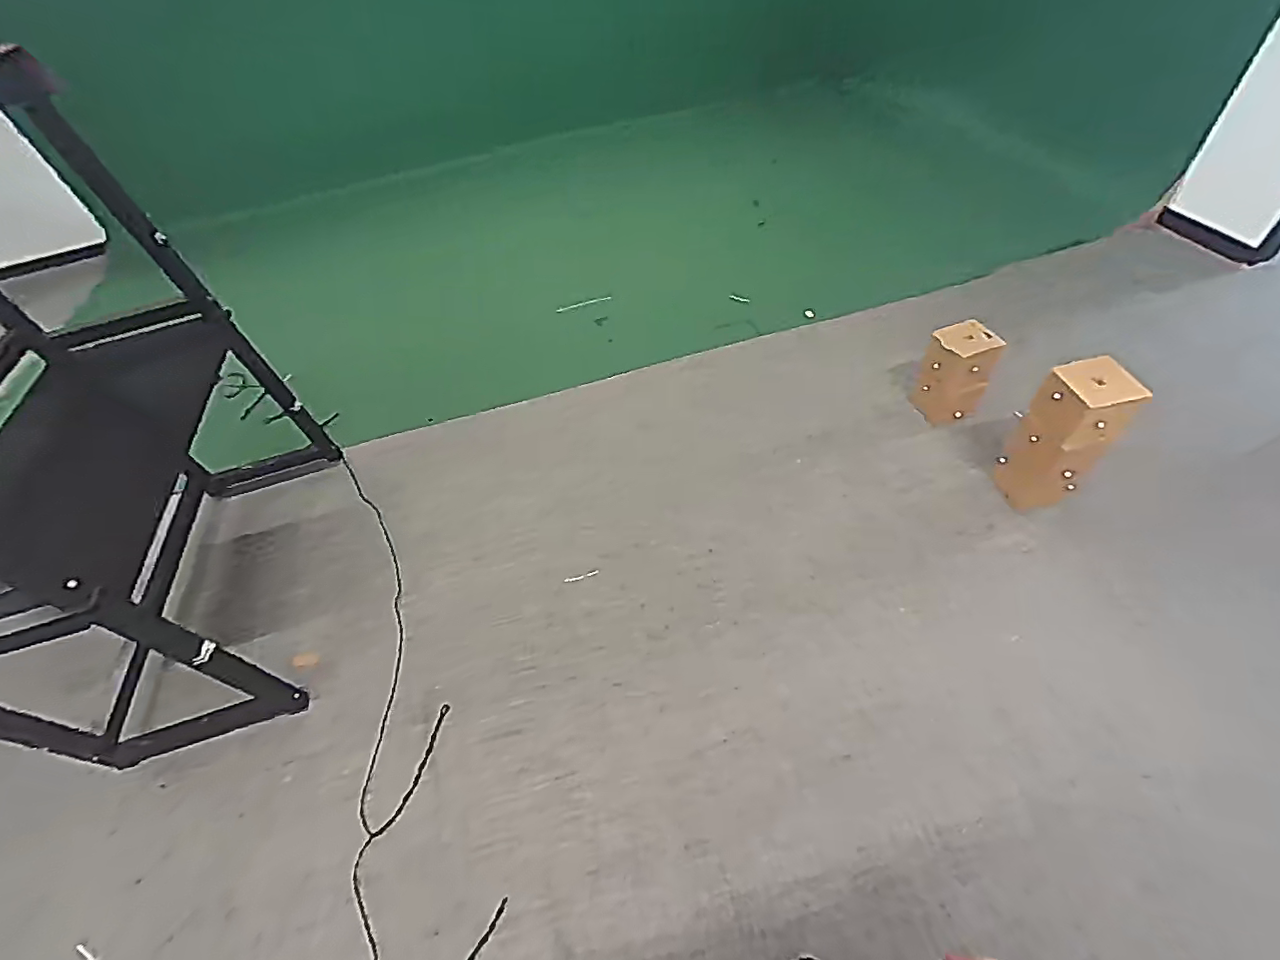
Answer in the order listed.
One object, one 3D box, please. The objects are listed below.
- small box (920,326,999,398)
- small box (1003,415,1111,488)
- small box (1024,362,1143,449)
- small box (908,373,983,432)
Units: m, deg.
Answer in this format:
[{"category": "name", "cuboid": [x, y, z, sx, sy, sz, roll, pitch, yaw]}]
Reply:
[{"category": "small box", "cuboid": [1.147, -0.423, 1.963, 0.179, 0.176, 0.168, -19, 50, -5]}, {"category": "small box", "cuboid": [1.275, -0.103, 1.672, 0.168, 0.176, 0.179, -15, 50, -3]}, {"category": "small box", "cuboid": [1.256, -0.205, 1.547, 0.168, 0.176, 0.179, -12, 49, 1]}, {"category": "small box", "cuboid": [1.168, -0.316, 2.085, 0.168, 0.176, 0.179, -17, 50, -4]}]
